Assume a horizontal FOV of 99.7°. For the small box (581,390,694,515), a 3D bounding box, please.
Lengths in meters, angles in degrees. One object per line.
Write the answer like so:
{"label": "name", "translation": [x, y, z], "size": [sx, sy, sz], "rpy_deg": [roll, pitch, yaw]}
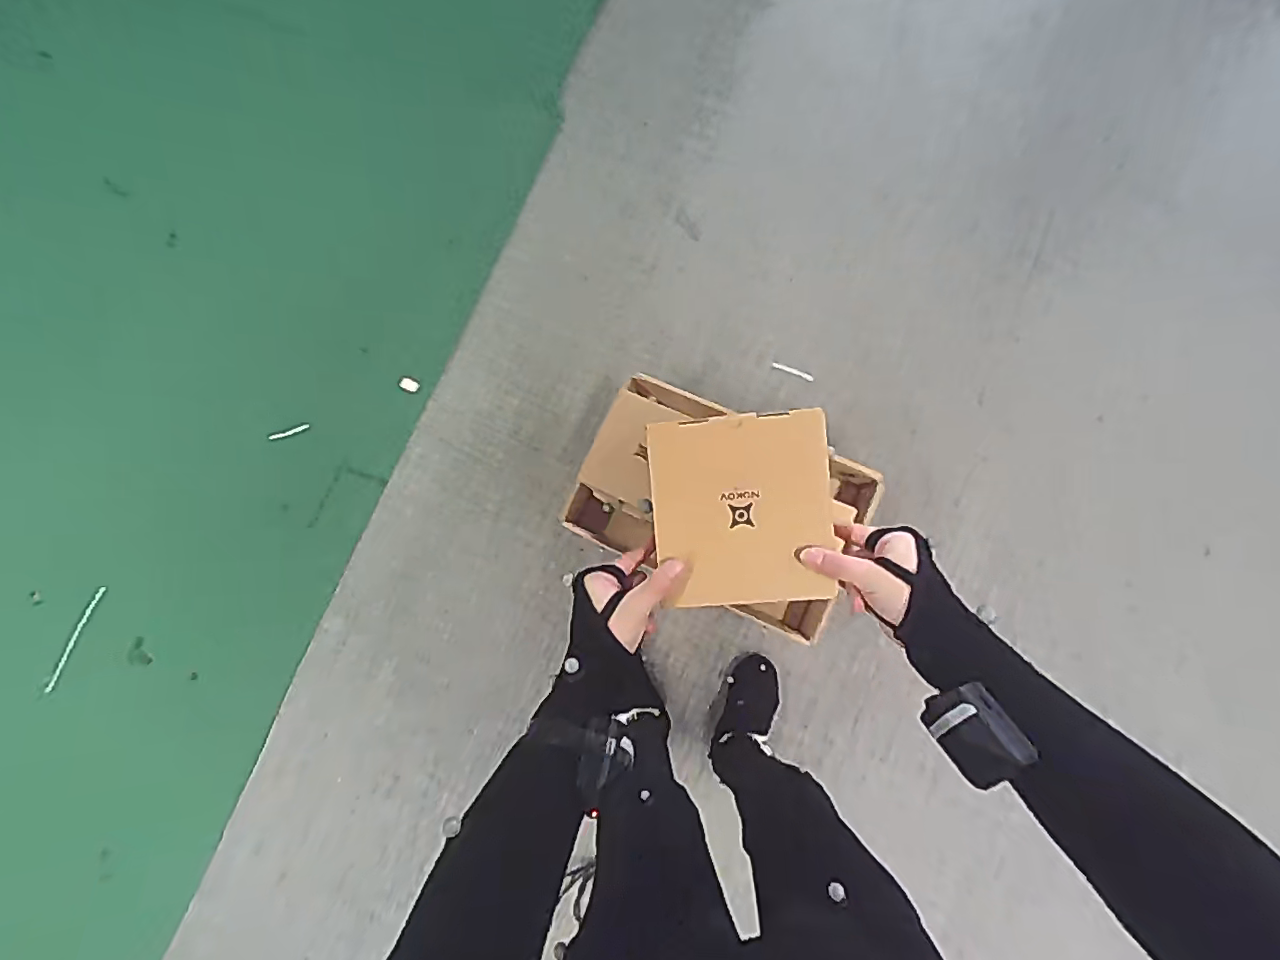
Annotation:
{"label": "small box", "translation": [0.025, -0.026, 0.931], "size": [0.179, 0.176, 0.168], "rpy_deg": [26, 85, 9]}

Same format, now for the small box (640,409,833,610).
{"label": "small box", "translation": [0.095, 0.027, 0.570], "size": [0.168, 0.176, 0.179], "rpy_deg": [-5, 90, 6]}

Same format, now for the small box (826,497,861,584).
{"label": "small box", "translation": [0.296, 0.107, 1.051], "size": [0.179, 0.176, 0.168], "rpy_deg": [23, 87, 9]}
